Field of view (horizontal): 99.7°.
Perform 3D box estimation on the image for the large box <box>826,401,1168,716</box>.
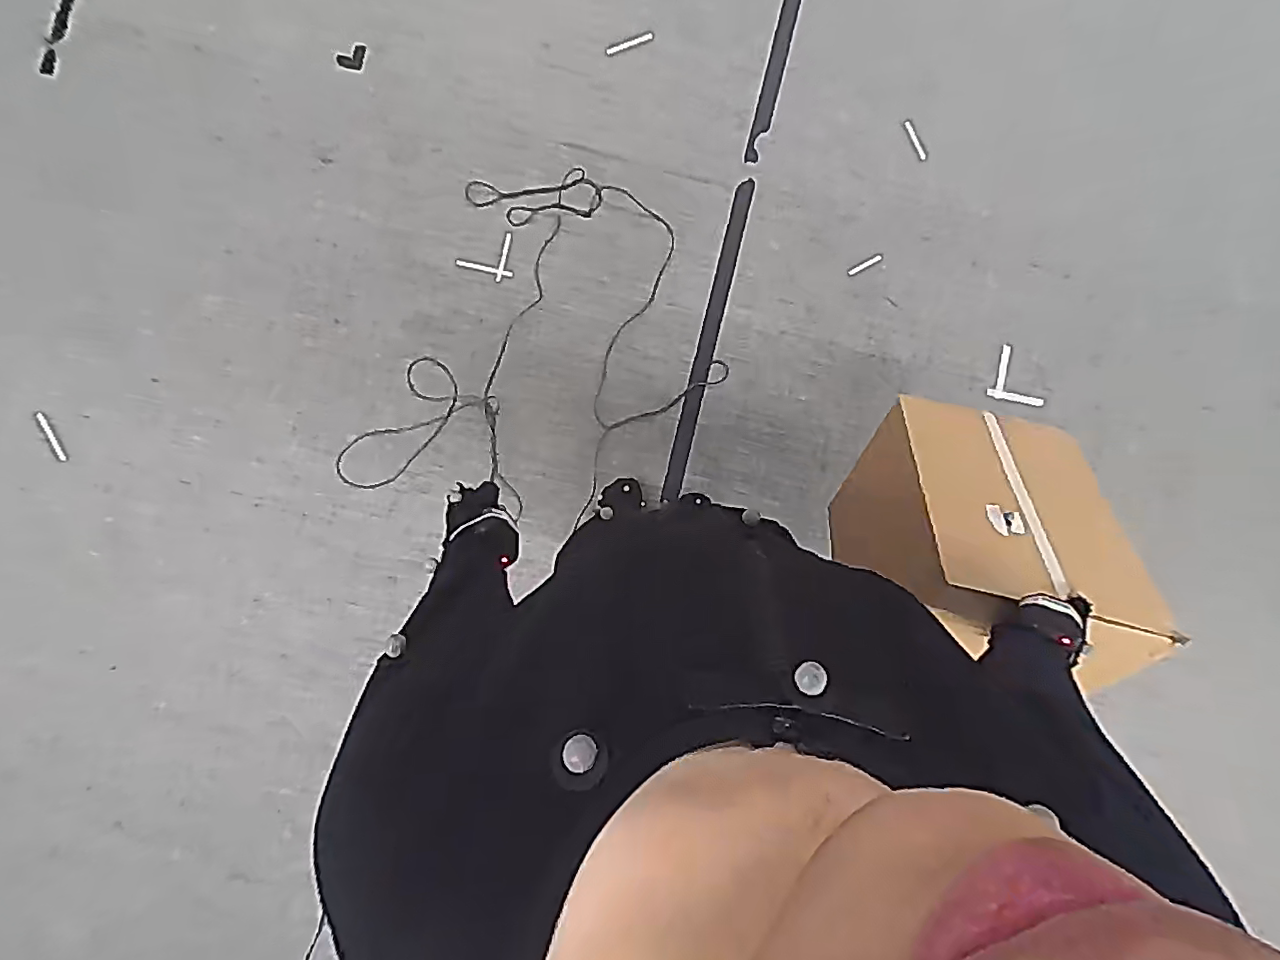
[{"bbox_3d":[0.546,0.132,0.943,0.320,0.320,0.408,13,48,0],"label":"large box"}]
